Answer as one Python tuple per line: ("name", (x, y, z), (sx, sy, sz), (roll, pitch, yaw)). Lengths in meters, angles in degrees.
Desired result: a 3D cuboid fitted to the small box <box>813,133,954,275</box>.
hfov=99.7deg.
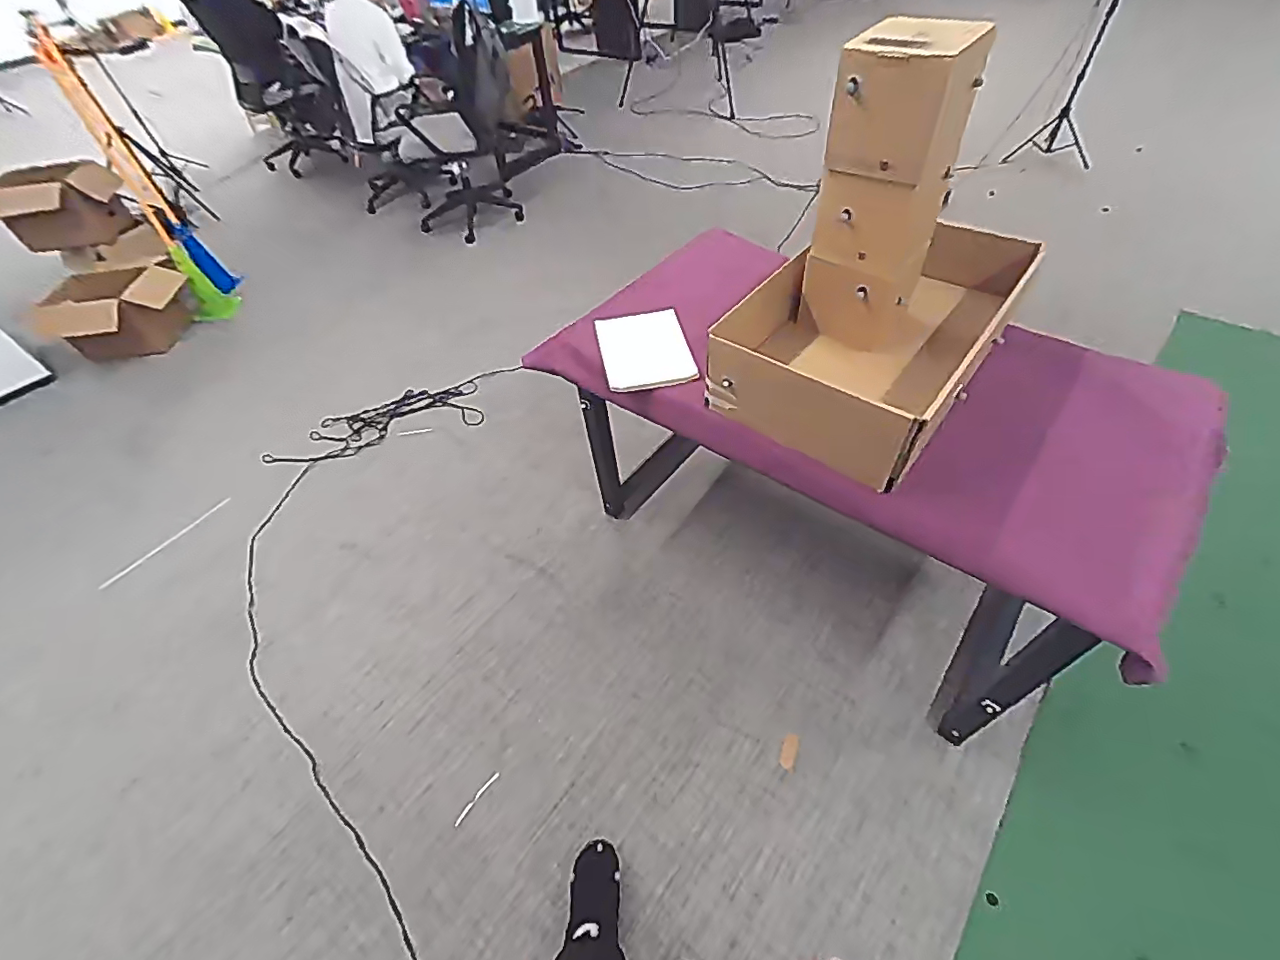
("small box", (0.437, -0.508, 0.998), (0.168, 0.176, 0.179), (32, 62, 29))
